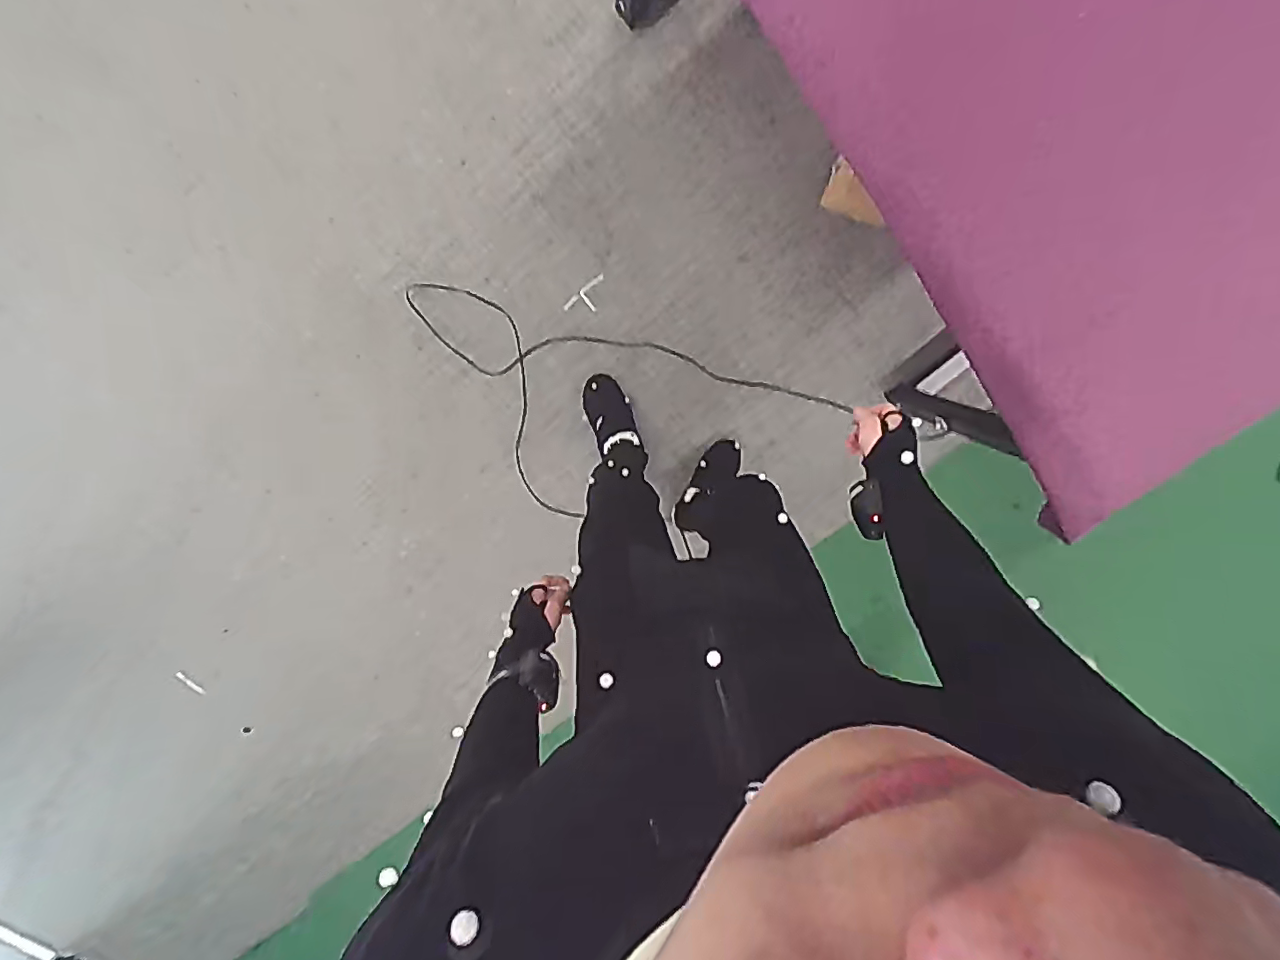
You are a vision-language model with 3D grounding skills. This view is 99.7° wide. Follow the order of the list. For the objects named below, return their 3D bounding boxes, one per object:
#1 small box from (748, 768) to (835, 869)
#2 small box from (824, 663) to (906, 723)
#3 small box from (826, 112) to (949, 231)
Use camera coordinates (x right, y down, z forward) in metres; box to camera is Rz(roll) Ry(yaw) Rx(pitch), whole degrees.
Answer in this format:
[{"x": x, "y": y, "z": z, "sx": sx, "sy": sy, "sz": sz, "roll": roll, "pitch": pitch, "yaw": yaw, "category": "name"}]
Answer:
[{"x": 0.447, "y": 1.005, "z": 1.625, "sx": 0.168, "sy": 0.176, "sz": 0.179, "roll": -38, "pitch": 105, "yaw": 11, "category": "small box"}, {"x": 0.717, "y": 0.710, "z": 1.710, "sx": 0.168, "sy": 0.176, "sz": 0.179, "roll": -39, "pitch": 106, "yaw": 10, "category": "small box"}, {"x": 0.557, "y": -0.695, "z": 1.235, "sx": 0.168, "sy": 0.176, "sz": 0.179, "roll": 18, "pitch": 108, "yaw": -7, "category": "small box"}]
